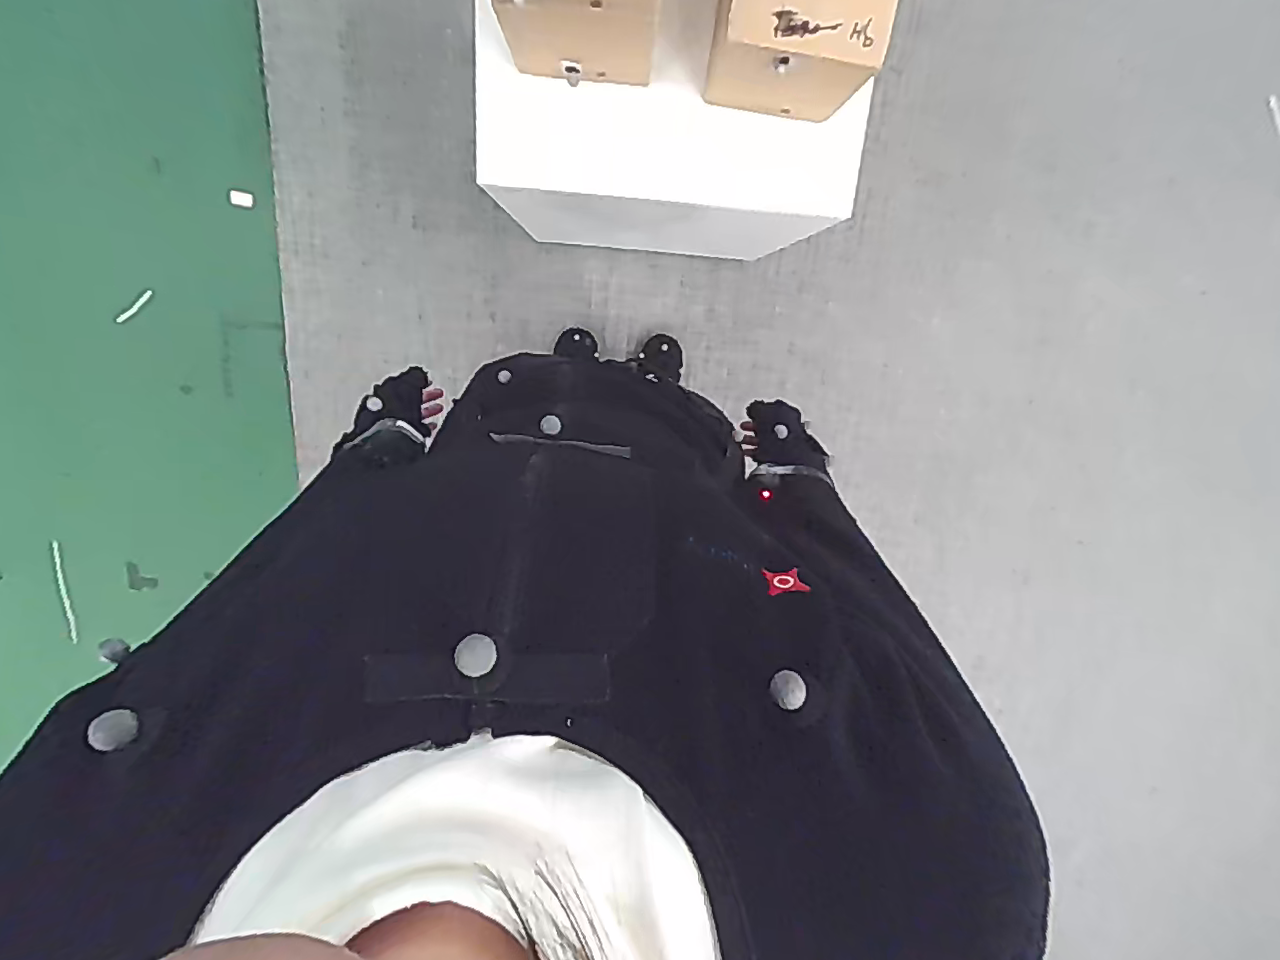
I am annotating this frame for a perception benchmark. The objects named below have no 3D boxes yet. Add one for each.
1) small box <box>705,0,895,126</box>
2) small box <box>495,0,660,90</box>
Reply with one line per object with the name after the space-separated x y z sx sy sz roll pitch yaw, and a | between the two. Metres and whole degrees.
0.175 -0.535 0.605 0.168 0.176 0.179 8 105 -4 | small box
-0.060 -0.566 0.591 0.168 0.176 0.179 2 108 -2 | small box
